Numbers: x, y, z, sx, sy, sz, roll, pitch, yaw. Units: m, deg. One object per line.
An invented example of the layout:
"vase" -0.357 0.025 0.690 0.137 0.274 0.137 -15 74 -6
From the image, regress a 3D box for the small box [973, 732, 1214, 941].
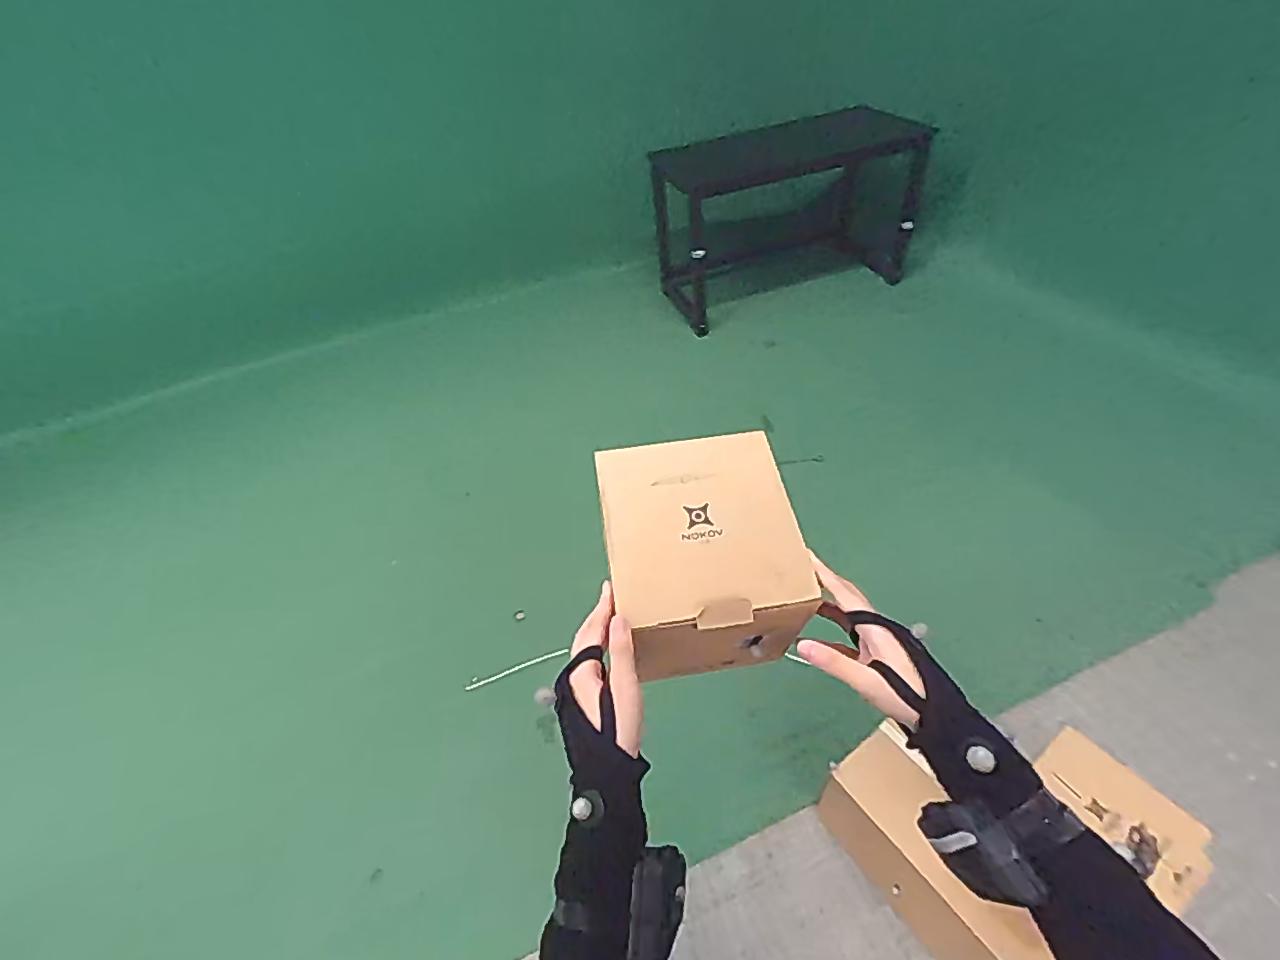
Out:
"small box" 0.618 0.503 0.761 0.168 0.176 0.179 -30 47 -19

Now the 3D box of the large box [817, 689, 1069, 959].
"large box" 0.634 0.735 1.109 0.320 0.320 0.408 -29 47 -20

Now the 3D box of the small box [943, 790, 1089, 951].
"small box" 0.638 0.617 0.877 0.168 0.176 0.179 -26 48 -16

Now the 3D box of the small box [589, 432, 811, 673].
"small box" 0.045 0.079 0.529 0.168 0.176 0.179 -7 56 -5
